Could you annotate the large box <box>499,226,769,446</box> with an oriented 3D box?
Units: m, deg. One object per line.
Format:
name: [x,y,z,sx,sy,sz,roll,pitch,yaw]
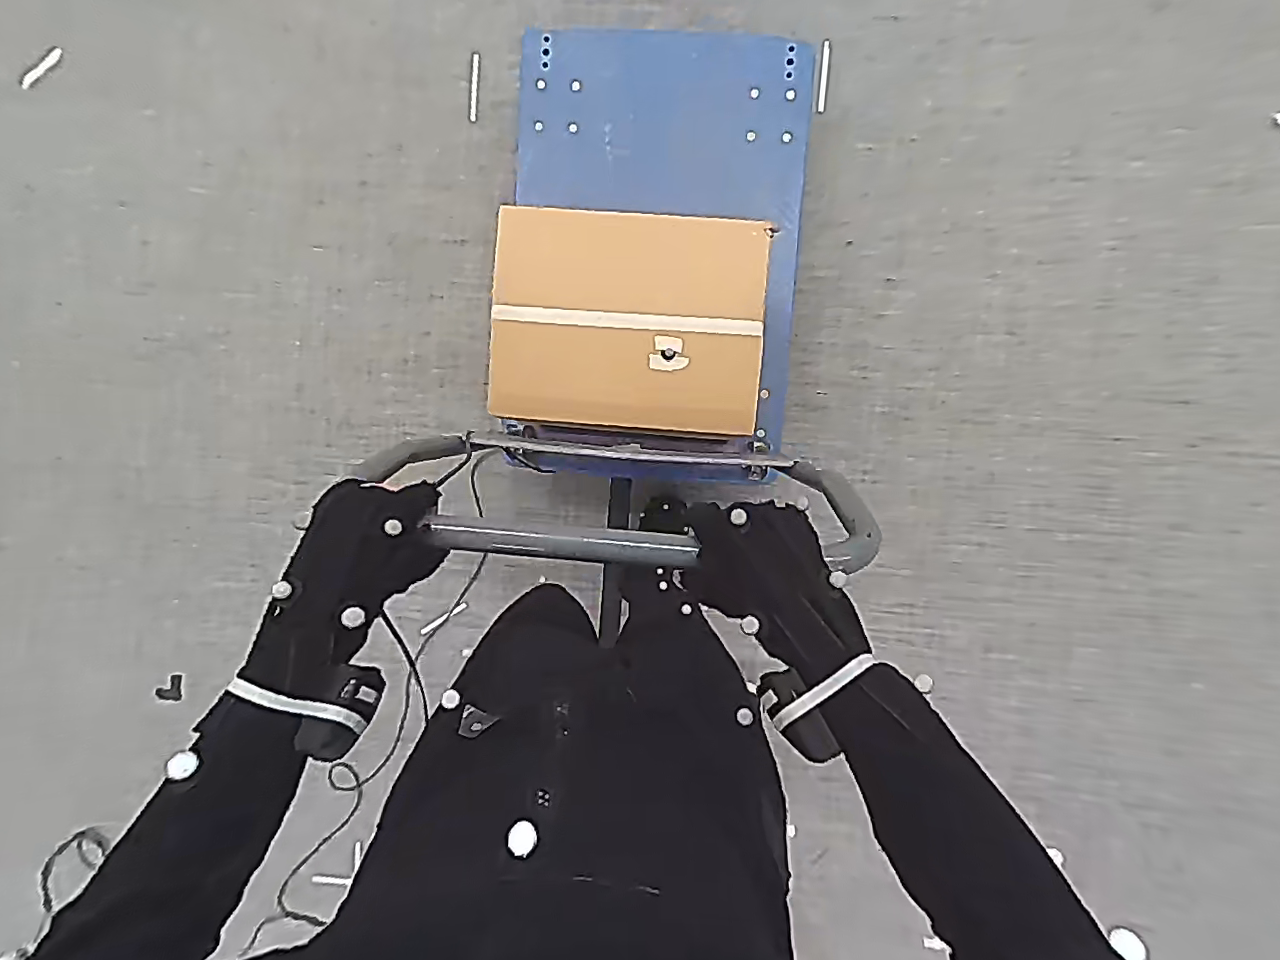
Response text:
large box: [-0.010,-0.229,0.974,0.408,0.320,0.320,5,94,2]
